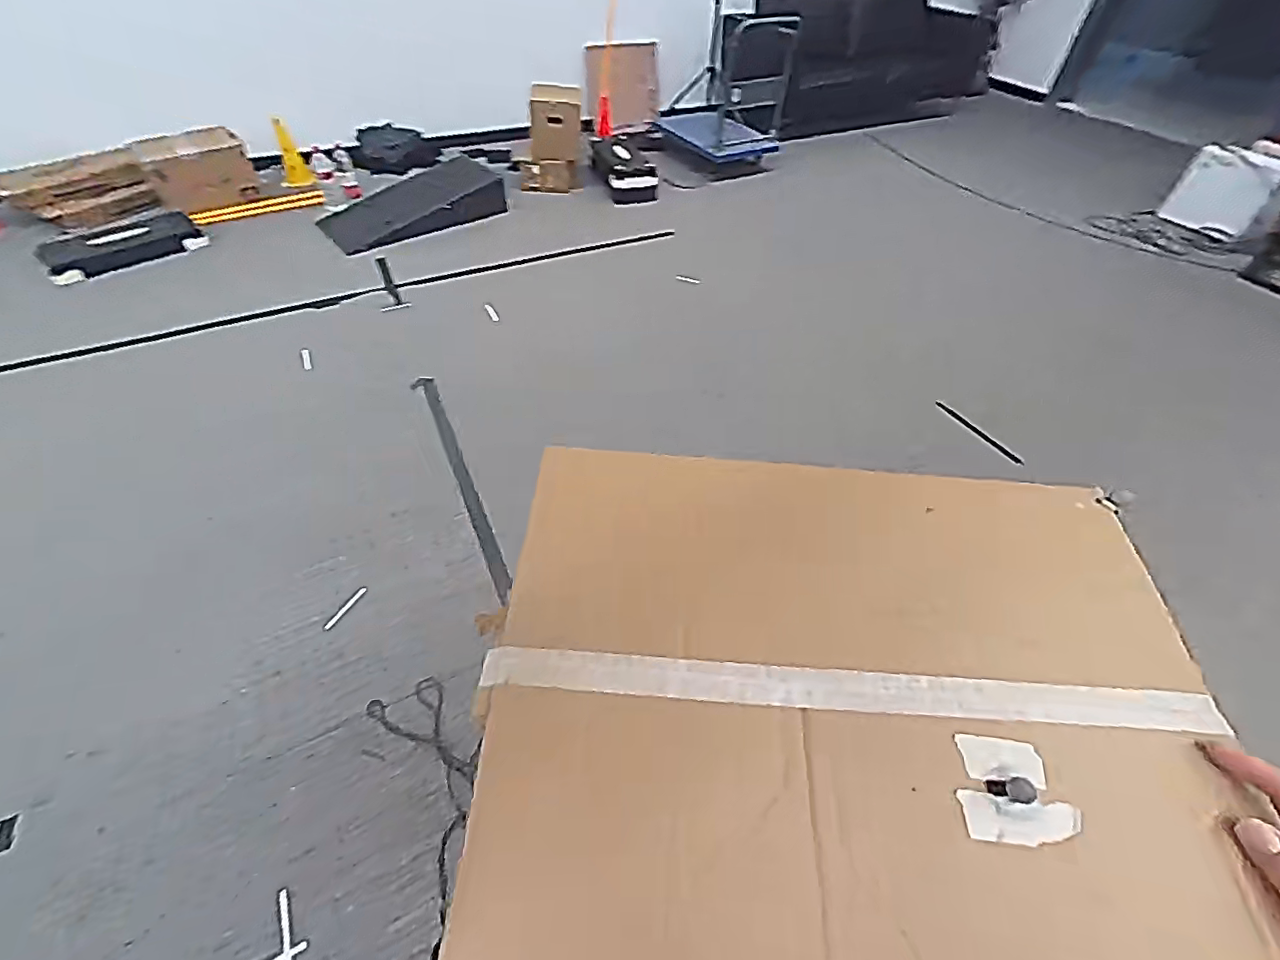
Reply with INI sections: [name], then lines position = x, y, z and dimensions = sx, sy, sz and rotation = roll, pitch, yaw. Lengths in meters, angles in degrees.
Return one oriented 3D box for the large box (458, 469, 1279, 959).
[large box]
position = 0.109, 0.212, 0.435
dimensions = 0.408, 0.320, 0.320
rotation = 4, 56, -2
